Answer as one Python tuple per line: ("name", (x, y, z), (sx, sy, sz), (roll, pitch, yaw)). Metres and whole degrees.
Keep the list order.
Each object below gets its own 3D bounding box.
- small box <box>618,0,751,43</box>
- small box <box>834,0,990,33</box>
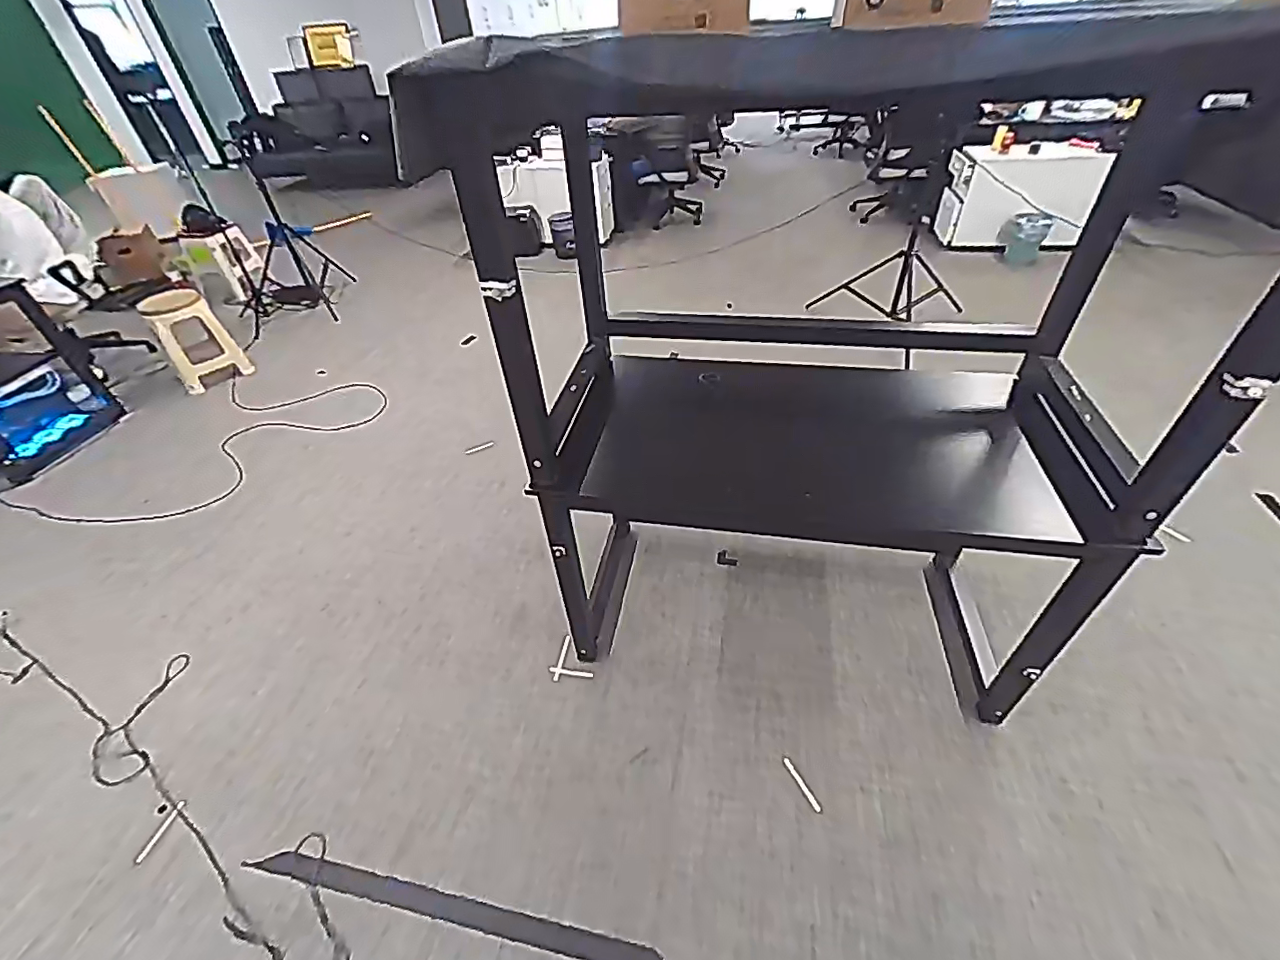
("small box", (0.057, -0.672, 0.694), (0.168, 0.176, 0.179), (-1, 40, 4))
("small box", (0.340, -0.663, 0.660), (0.168, 0.176, 0.179), (5, 40, 10))
